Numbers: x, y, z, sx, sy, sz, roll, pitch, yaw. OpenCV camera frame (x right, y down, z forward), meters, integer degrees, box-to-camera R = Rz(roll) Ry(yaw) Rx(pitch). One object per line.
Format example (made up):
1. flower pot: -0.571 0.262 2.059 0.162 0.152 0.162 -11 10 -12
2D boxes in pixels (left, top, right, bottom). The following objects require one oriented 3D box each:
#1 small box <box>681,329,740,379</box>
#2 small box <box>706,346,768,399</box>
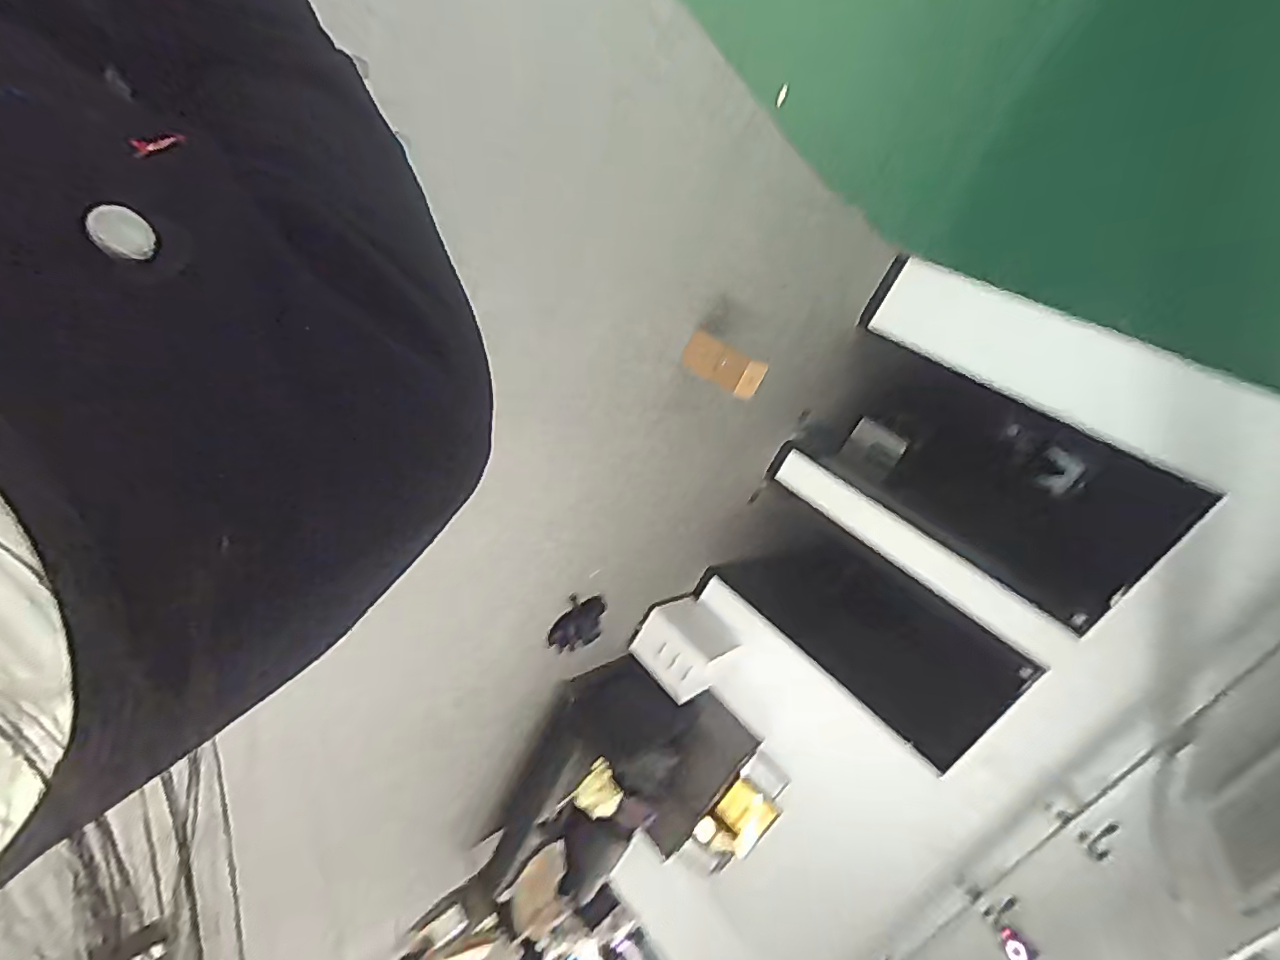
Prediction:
1. small box: 0.317 -0.569 2.471 0.168 0.176 0.179 1 124 -53
2. small box: 0.428 -0.479 2.396 0.179 0.176 0.168 -1 123 -51
